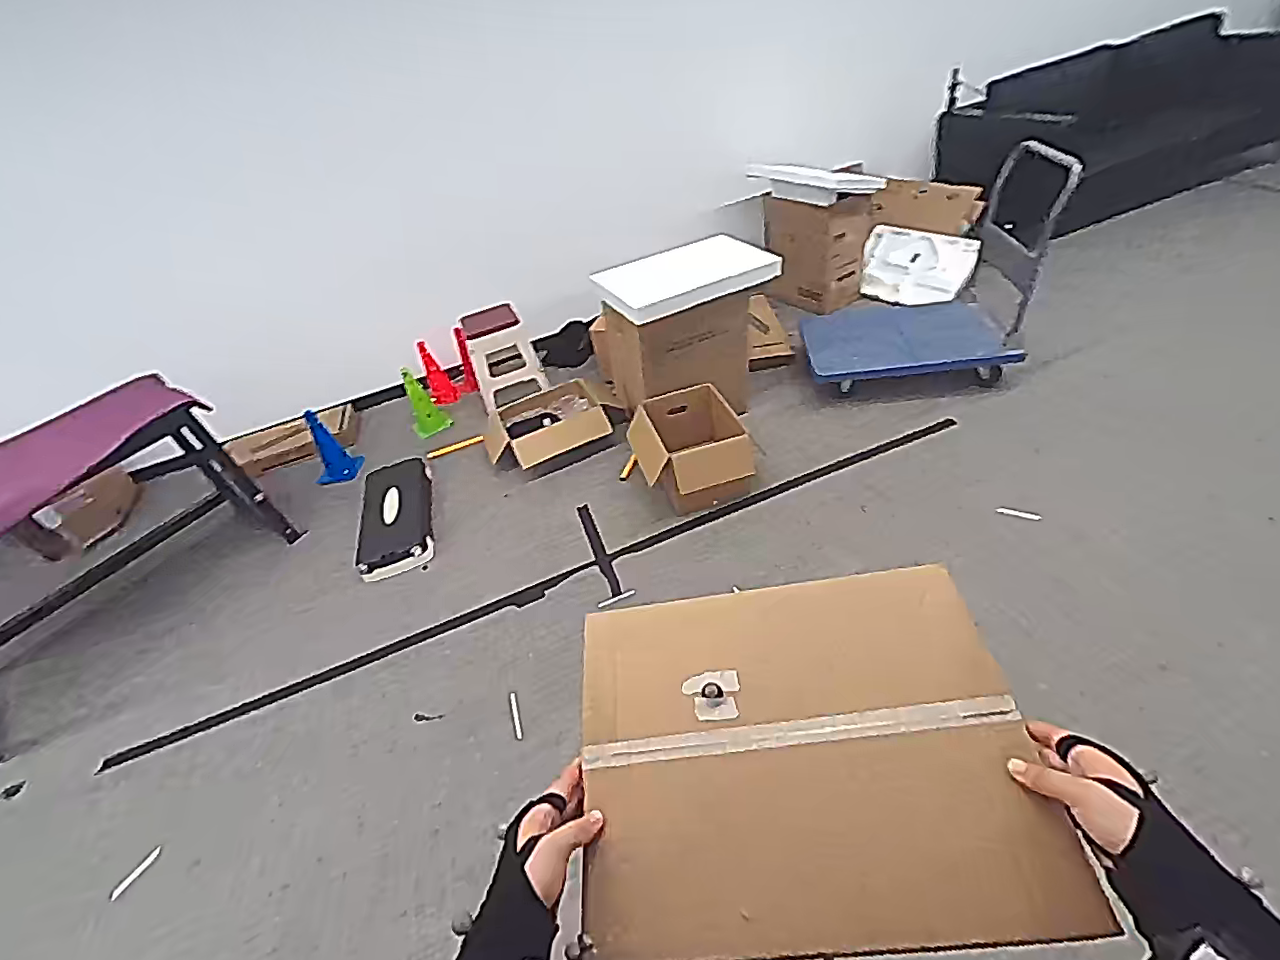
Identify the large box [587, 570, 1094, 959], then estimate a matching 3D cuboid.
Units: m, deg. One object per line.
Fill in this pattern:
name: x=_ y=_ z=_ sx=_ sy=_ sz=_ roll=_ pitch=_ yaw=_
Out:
large box: x=0.173 y=0.346 z=0.635 sx=0.408 sy=0.320 sz=0.320 roll=-11 pitch=47 yaw=6
